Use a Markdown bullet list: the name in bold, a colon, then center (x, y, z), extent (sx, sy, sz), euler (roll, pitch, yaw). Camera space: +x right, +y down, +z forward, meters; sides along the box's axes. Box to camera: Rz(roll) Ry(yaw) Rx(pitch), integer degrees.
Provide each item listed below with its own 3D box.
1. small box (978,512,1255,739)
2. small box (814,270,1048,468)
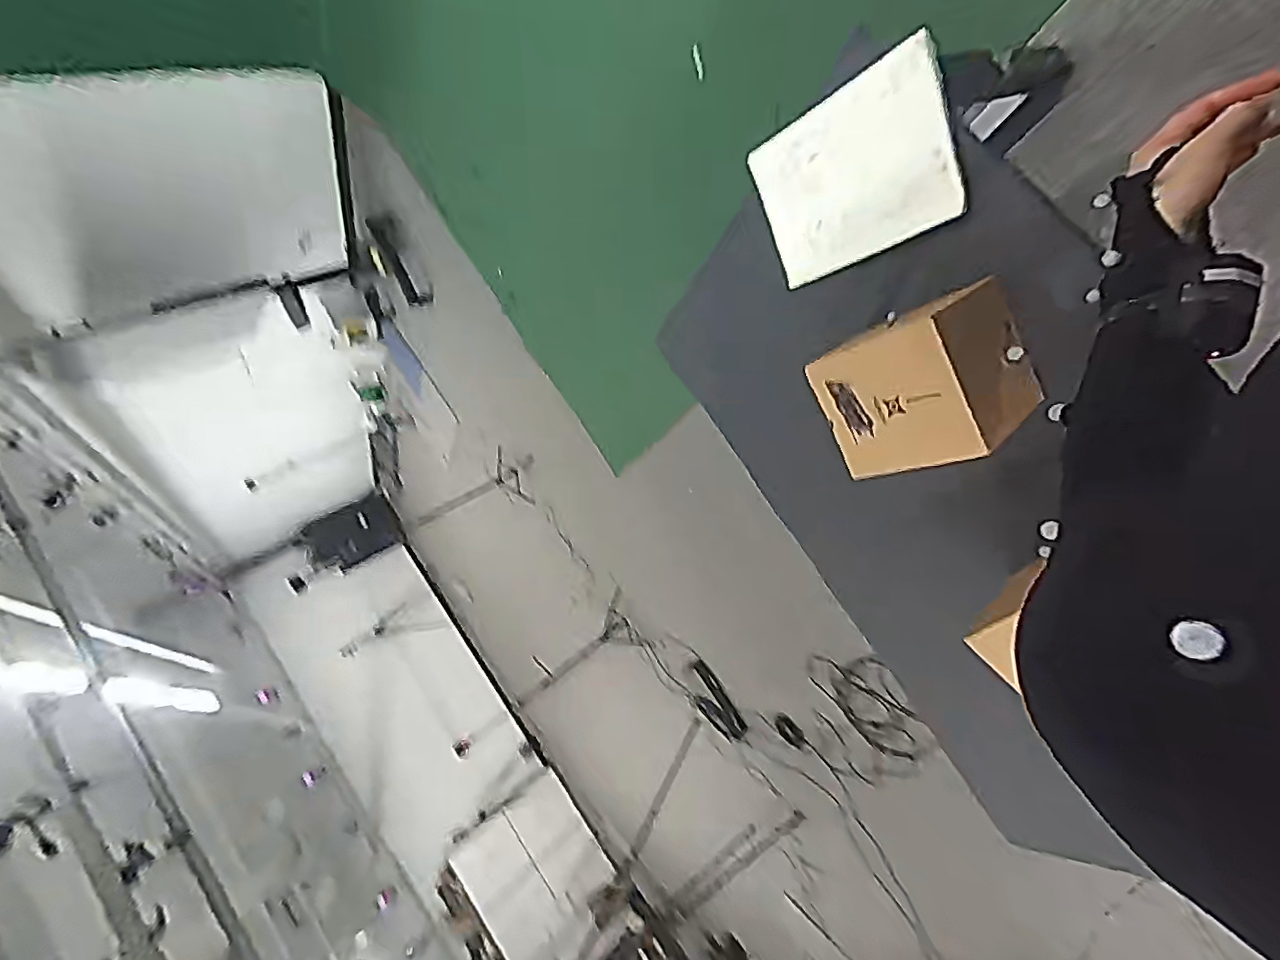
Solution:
- **small box**: center (0.573, 0.172, 0.658), extent (0.179, 0.176, 0.168), euler (46, 146, 21)
- **small box**: center (0.363, -0.135, 0.680), extent (0.179, 0.176, 0.168), euler (-17, 103, 58)
